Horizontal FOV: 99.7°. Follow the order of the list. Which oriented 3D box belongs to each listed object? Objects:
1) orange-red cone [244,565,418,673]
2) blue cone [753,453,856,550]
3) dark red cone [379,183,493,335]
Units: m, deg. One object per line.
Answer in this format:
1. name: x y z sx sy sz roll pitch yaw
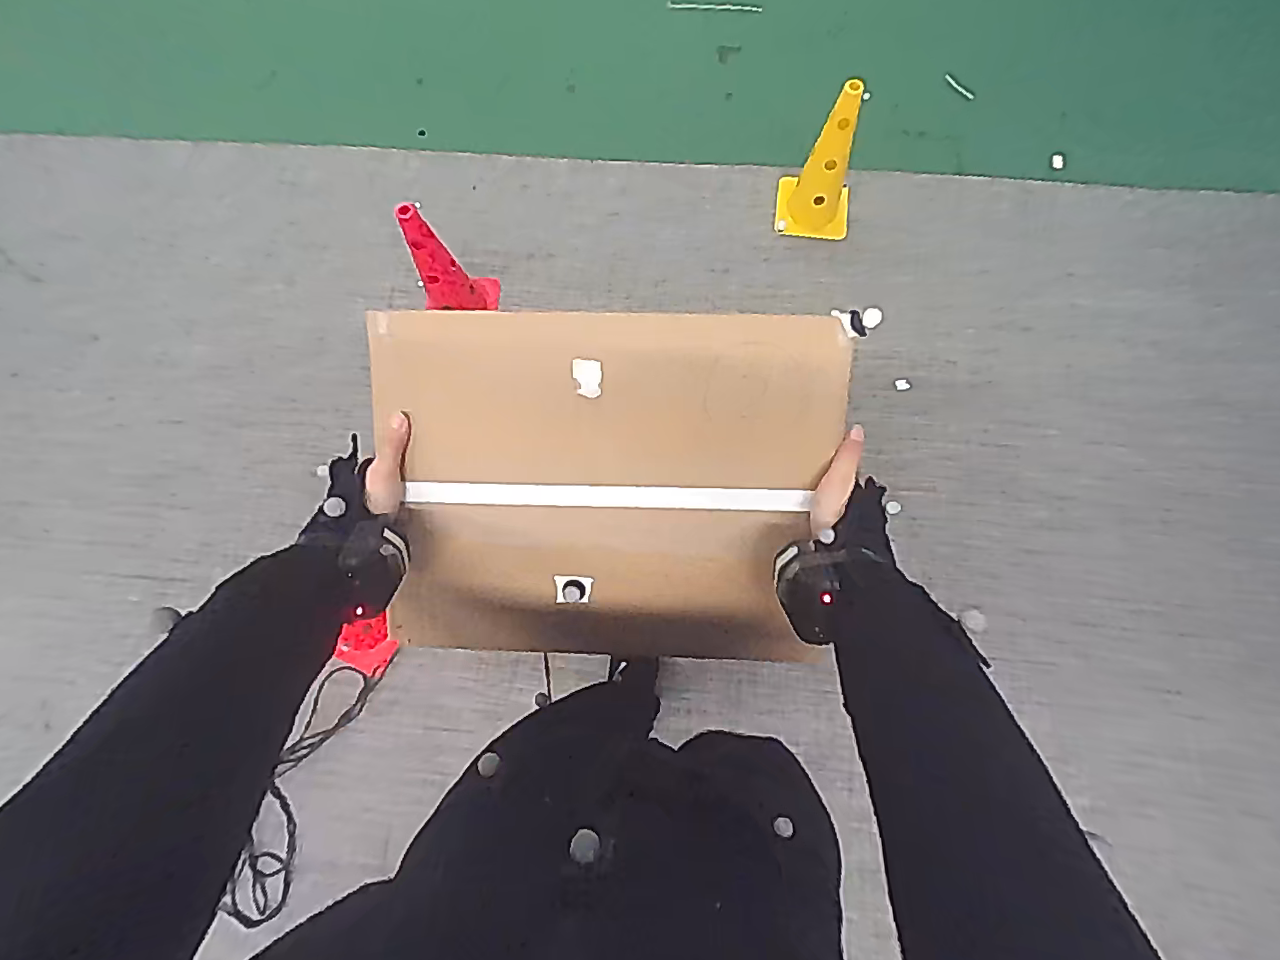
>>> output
1. orange-red cone: -0.643 0.262 1.078 0.199 0.360 0.198 24 74 11
2. blue cone: 0.356 0.022 1.120 0.192 0.380 0.193 5 73 4
3. dark red cone: -0.505 -0.533 1.296 0.202 0.394 0.201 -3 70 2
